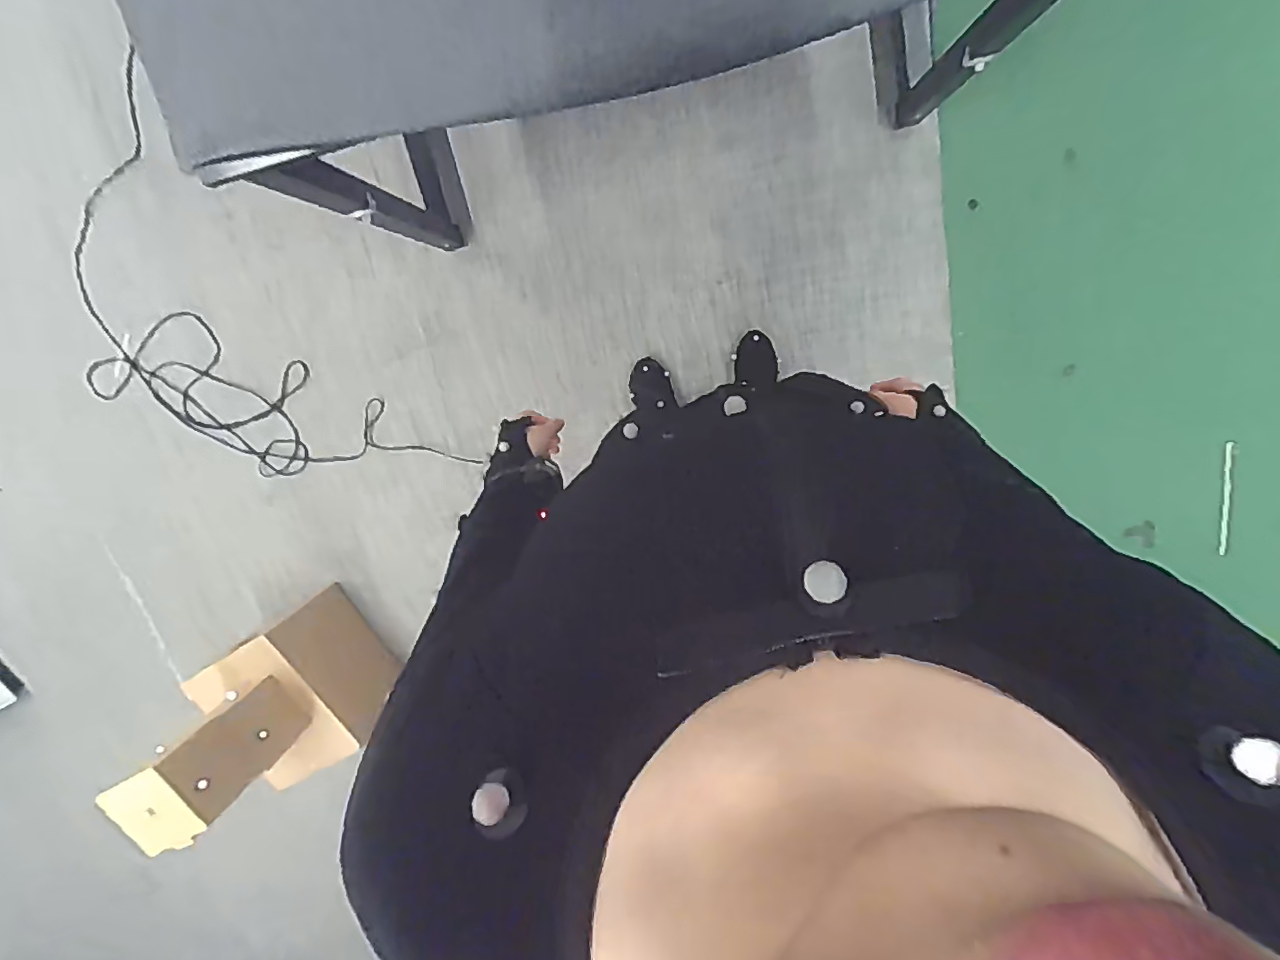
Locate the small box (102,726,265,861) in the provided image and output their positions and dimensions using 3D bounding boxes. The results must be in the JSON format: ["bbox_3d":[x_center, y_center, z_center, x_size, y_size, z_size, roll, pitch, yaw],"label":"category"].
[{"bbox_3d":[-0.987,0.673,1.187,0.168,0.176,0.179,-29,101,9],"label":"small box"}]

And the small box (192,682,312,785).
[{"bbox_3d":[-0.971,0.645,1.346,0.168,0.176,0.179,-29,100,10],"label":"small box"}]
